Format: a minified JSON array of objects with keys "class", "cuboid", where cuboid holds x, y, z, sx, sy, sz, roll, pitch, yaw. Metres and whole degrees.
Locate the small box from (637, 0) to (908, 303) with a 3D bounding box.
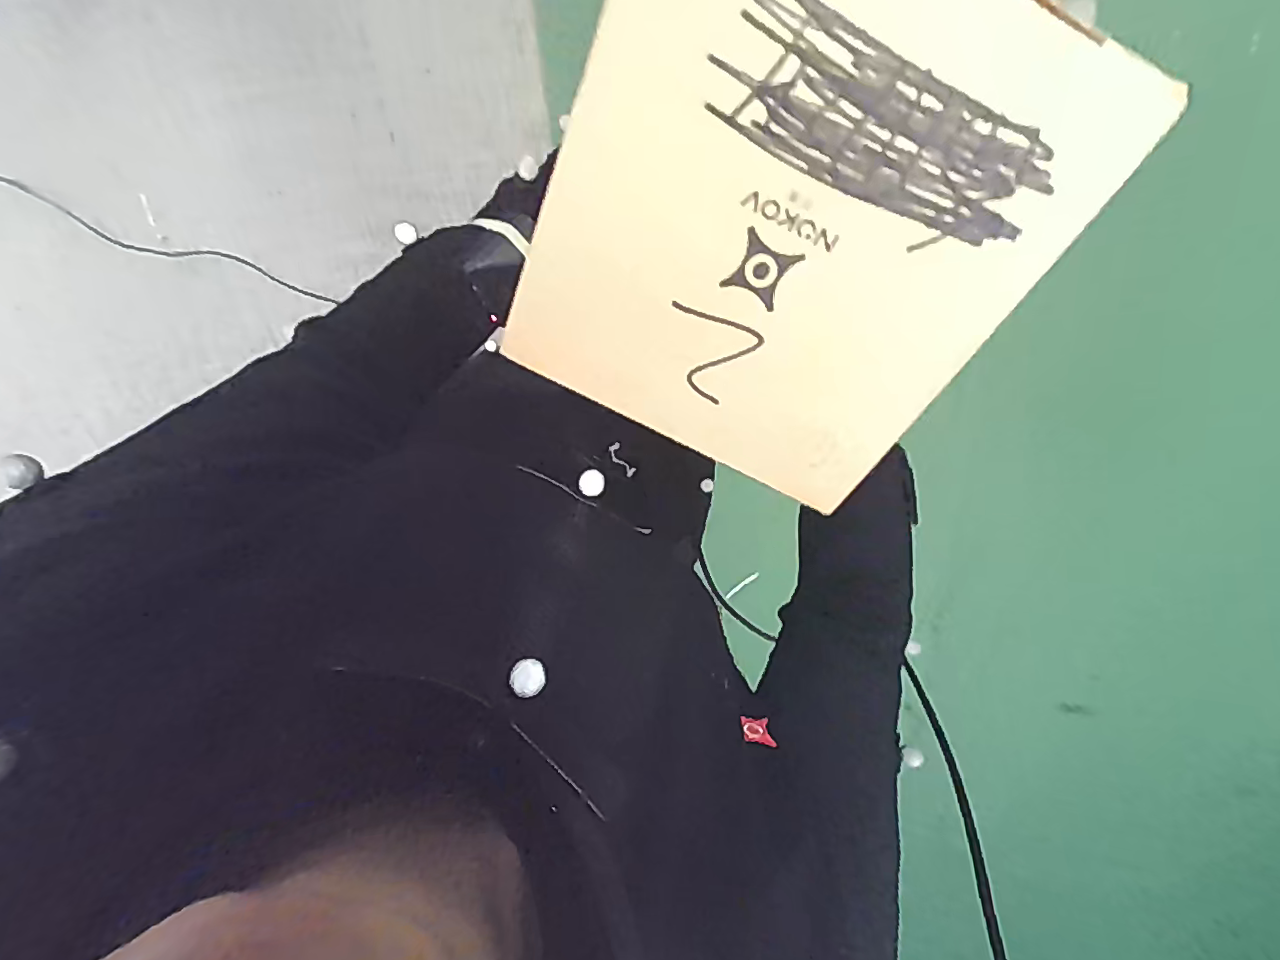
[{"class":"small box","cuboid":[0.115,-0.310,0.526,0.168,0.176,0.179,27,124,-8]}]
